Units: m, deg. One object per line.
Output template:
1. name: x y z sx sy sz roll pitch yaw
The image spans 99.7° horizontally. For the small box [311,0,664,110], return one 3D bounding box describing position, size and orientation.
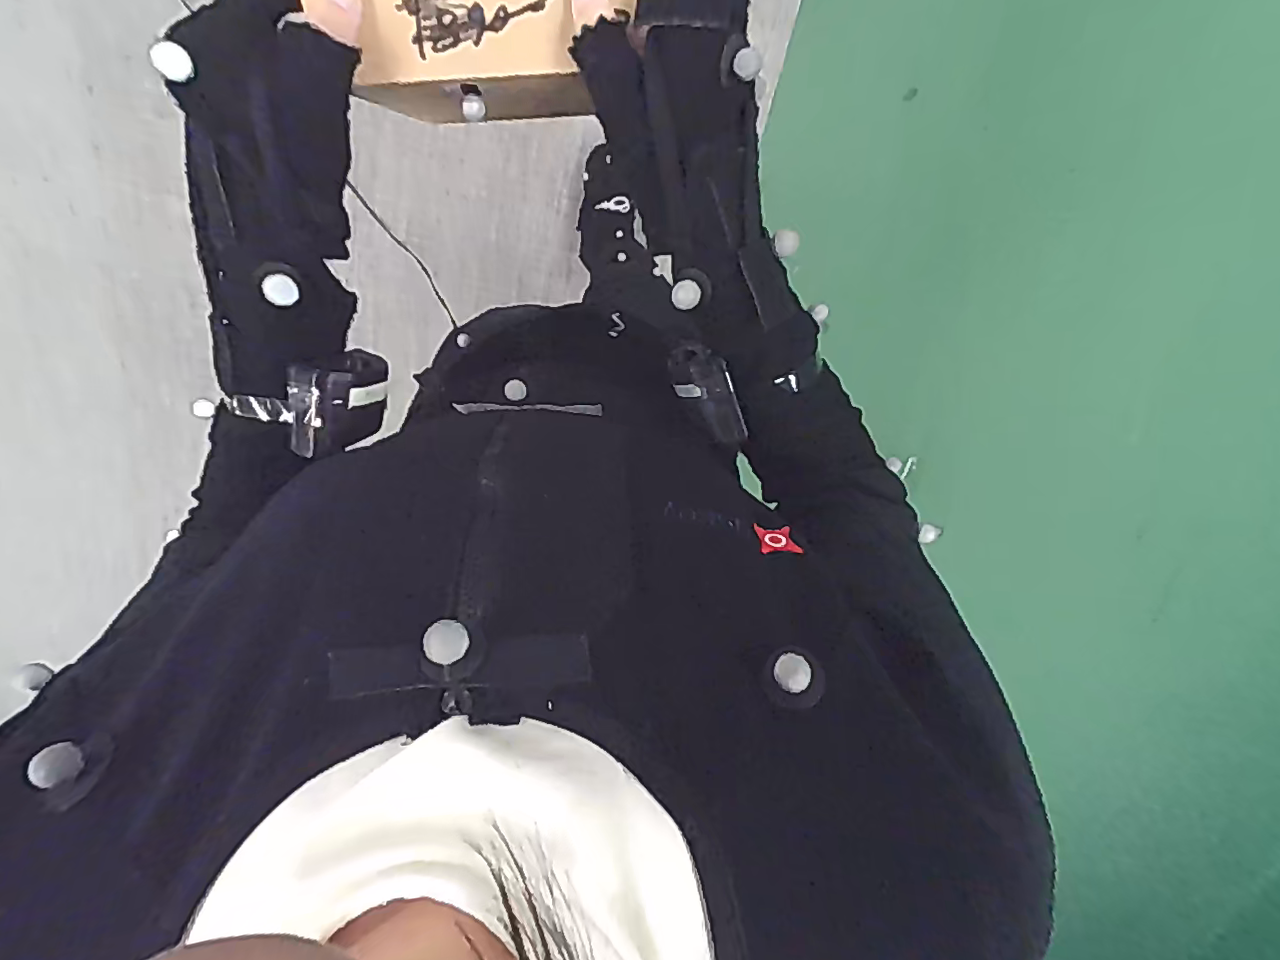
1. small box: -0.079 -0.318 0.292 0.168 0.176 0.179 -4 119 -2
